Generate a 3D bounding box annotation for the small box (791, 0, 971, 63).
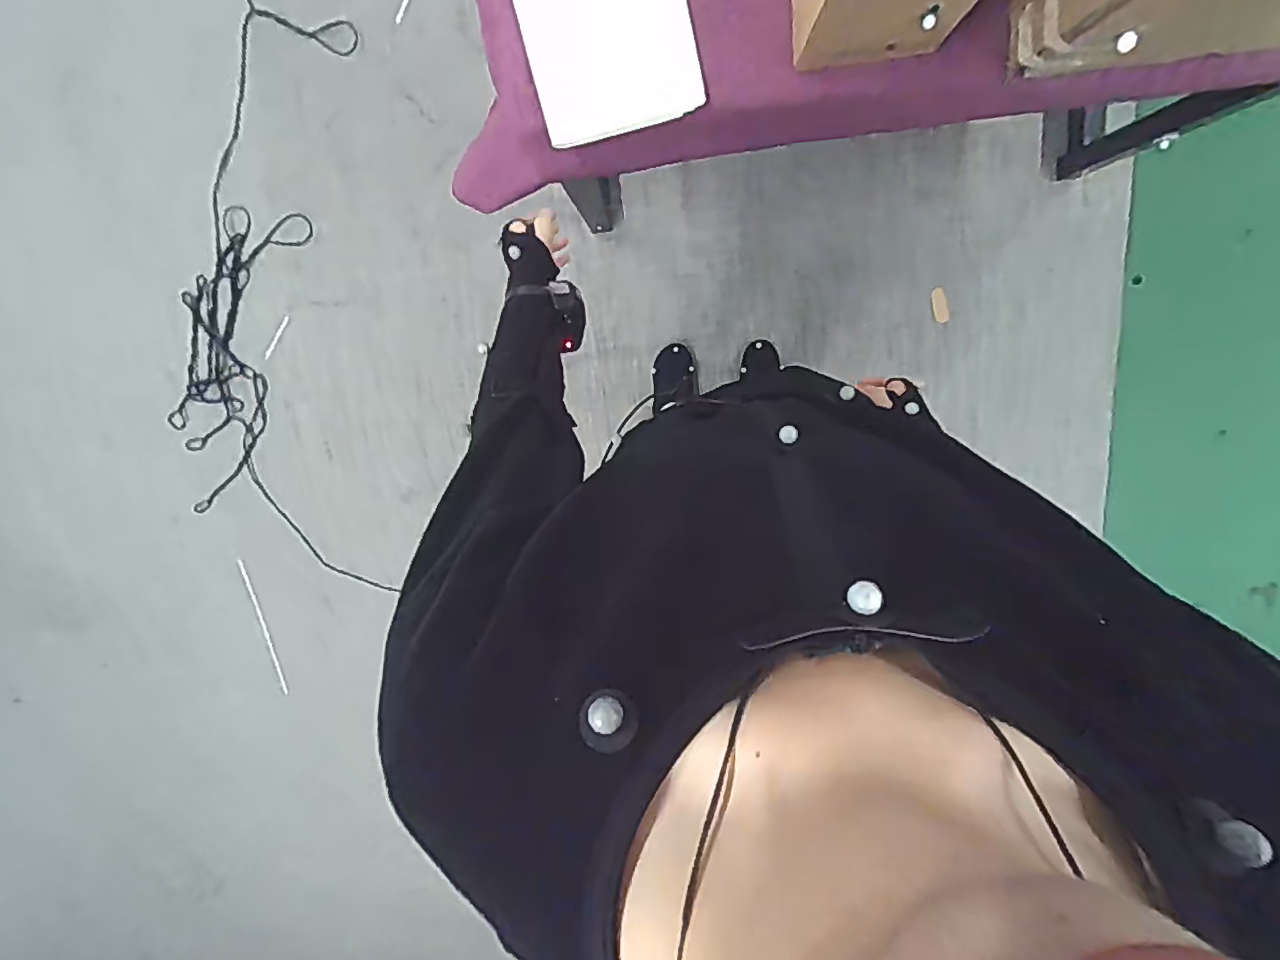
[{"bbox_3d":[0.255,-0.561,0.548,0.168,0.176,0.179,-4,102,4],"label":"small box"}]
